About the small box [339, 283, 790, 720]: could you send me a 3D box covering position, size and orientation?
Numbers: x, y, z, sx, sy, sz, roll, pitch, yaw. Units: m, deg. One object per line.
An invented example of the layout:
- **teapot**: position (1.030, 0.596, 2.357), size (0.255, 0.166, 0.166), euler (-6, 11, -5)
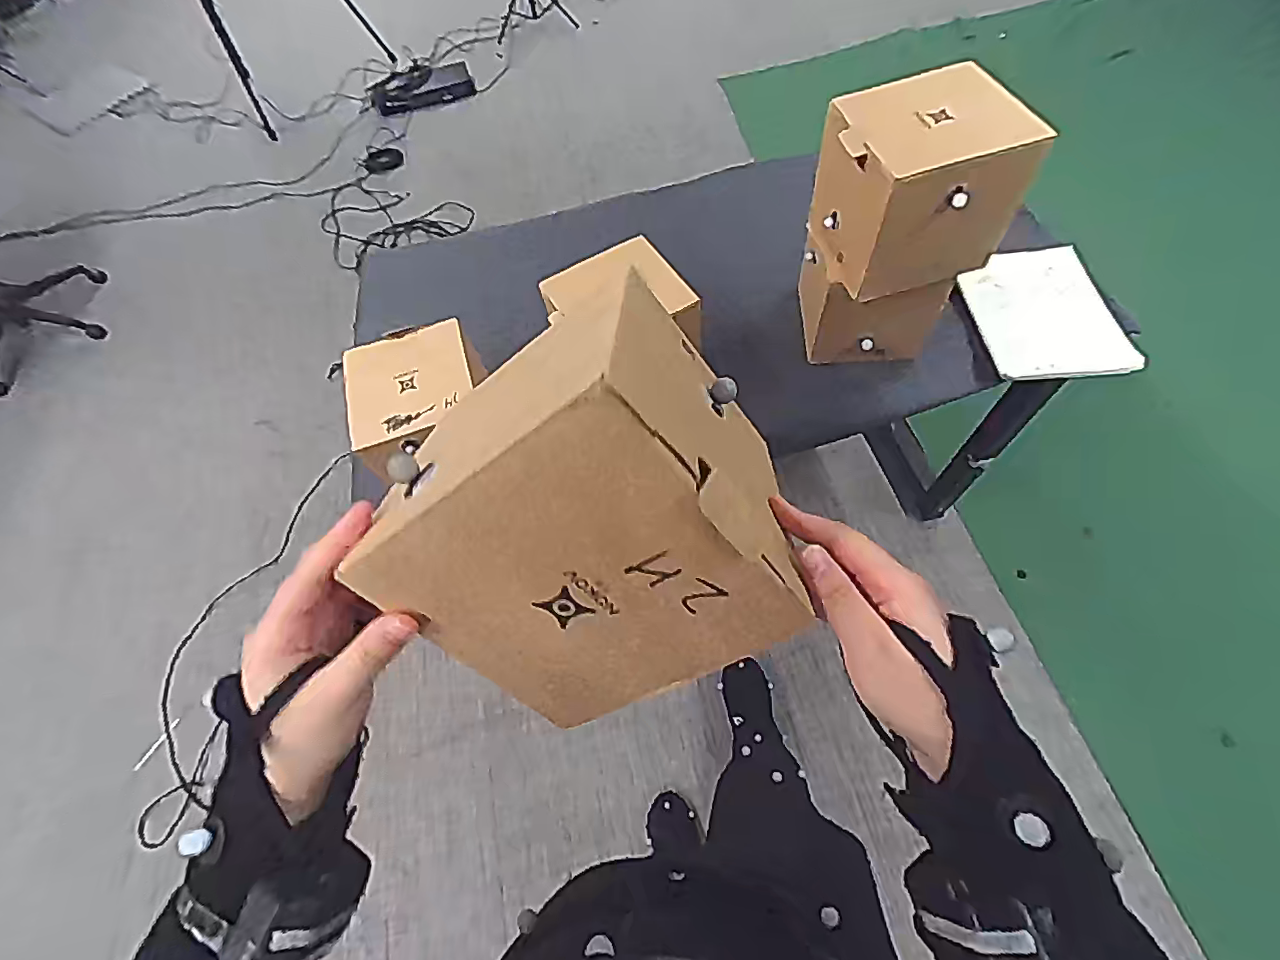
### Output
- **small box**: position (-0.034, 0.010, 0.340), size (0.179, 0.168, 0.176), euler (-32, 28, 21)

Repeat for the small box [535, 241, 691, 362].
- **small box**: position (-0.032, -0.220, 0.831), size (0.179, 0.176, 0.168), euler (-29, 64, -9)

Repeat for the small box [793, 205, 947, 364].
- **small box**: position (0.332, -0.298, 0.820), size (0.168, 0.176, 0.179), euler (-1, 63, 7)

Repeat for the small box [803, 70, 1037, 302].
- **small box**: position (0.321, -0.352, 0.666), size (0.179, 0.176, 0.168), euler (-16, 61, 0)

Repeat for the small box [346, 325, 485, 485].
- **small box**: position (-0.304, -0.089, 0.796), size (0.168, 0.176, 0.179), euler (-19, 62, -3)
